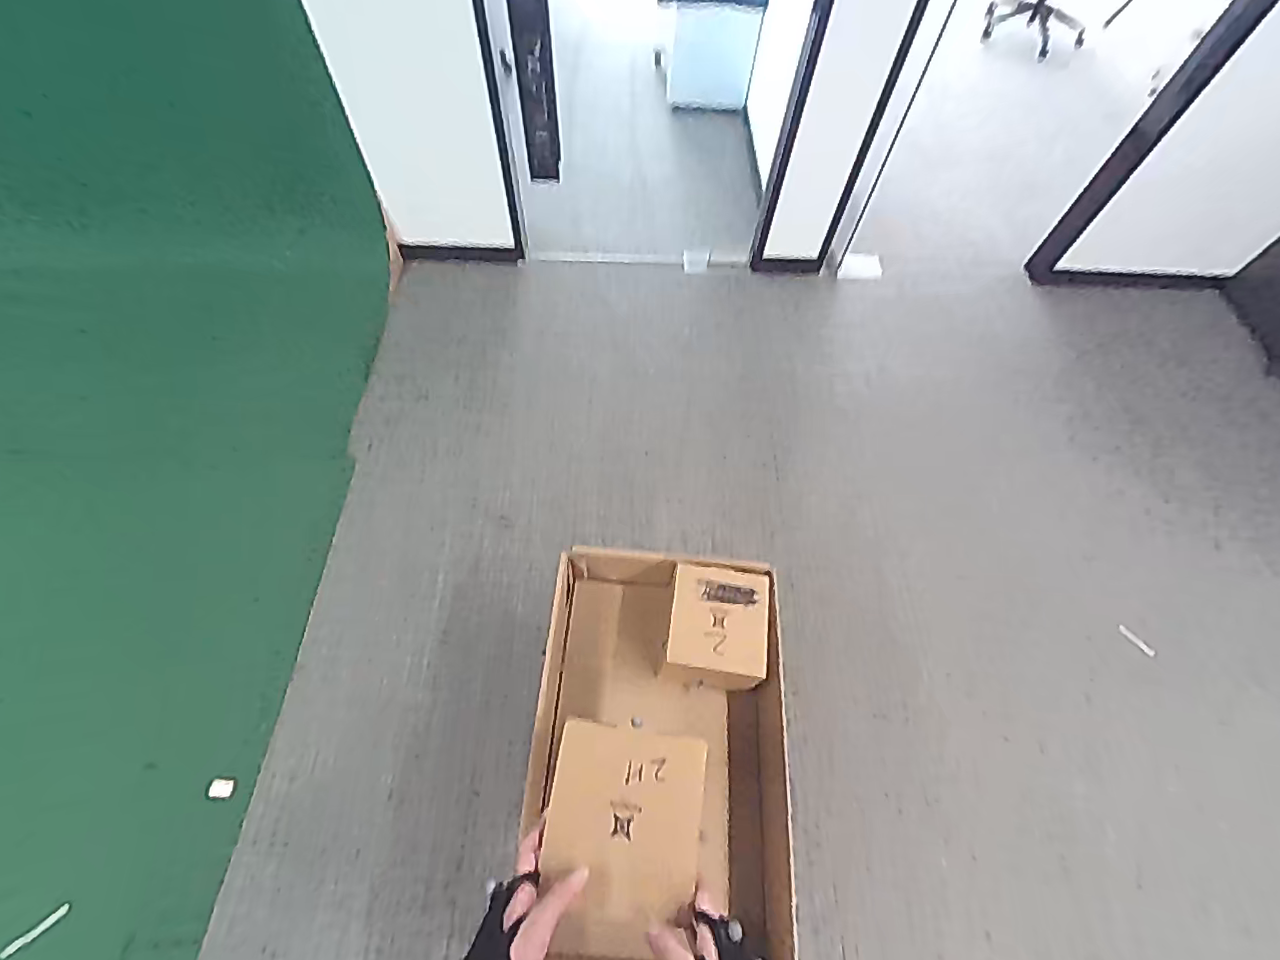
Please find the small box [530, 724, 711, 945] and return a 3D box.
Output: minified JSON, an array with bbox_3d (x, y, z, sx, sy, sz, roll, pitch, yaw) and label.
[{"bbox_3d":[-0.018,0.395,0.635,0.168,0.176,0.179,9,65,2],"label":"small box"}]
